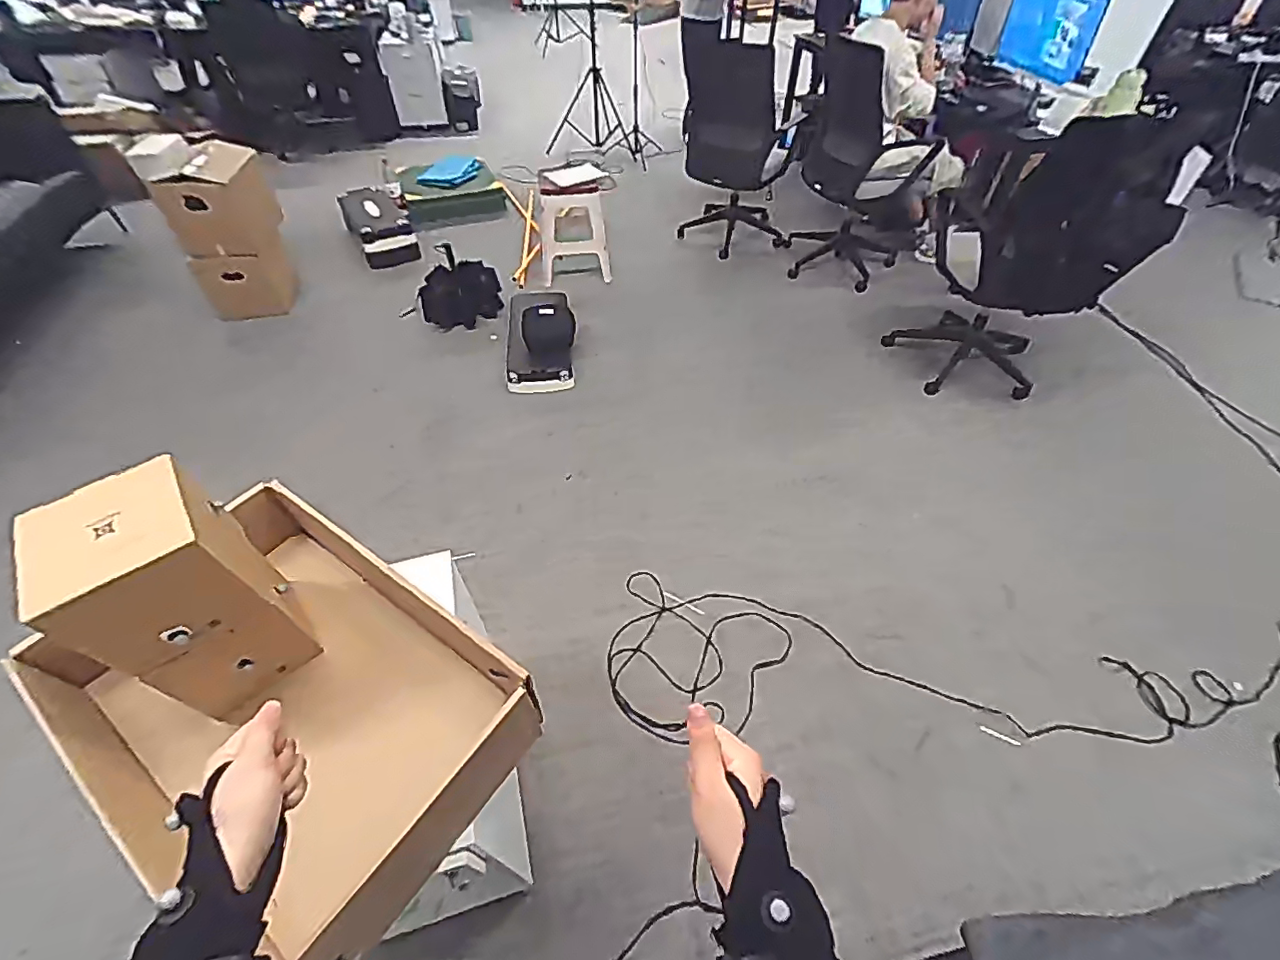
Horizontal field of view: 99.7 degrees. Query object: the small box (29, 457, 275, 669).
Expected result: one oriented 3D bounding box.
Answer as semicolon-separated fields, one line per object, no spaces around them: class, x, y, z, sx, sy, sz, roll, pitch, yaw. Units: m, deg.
small box;-0.620;0.109;0.702;0.168;0.176;0.179;-33;57;-23
